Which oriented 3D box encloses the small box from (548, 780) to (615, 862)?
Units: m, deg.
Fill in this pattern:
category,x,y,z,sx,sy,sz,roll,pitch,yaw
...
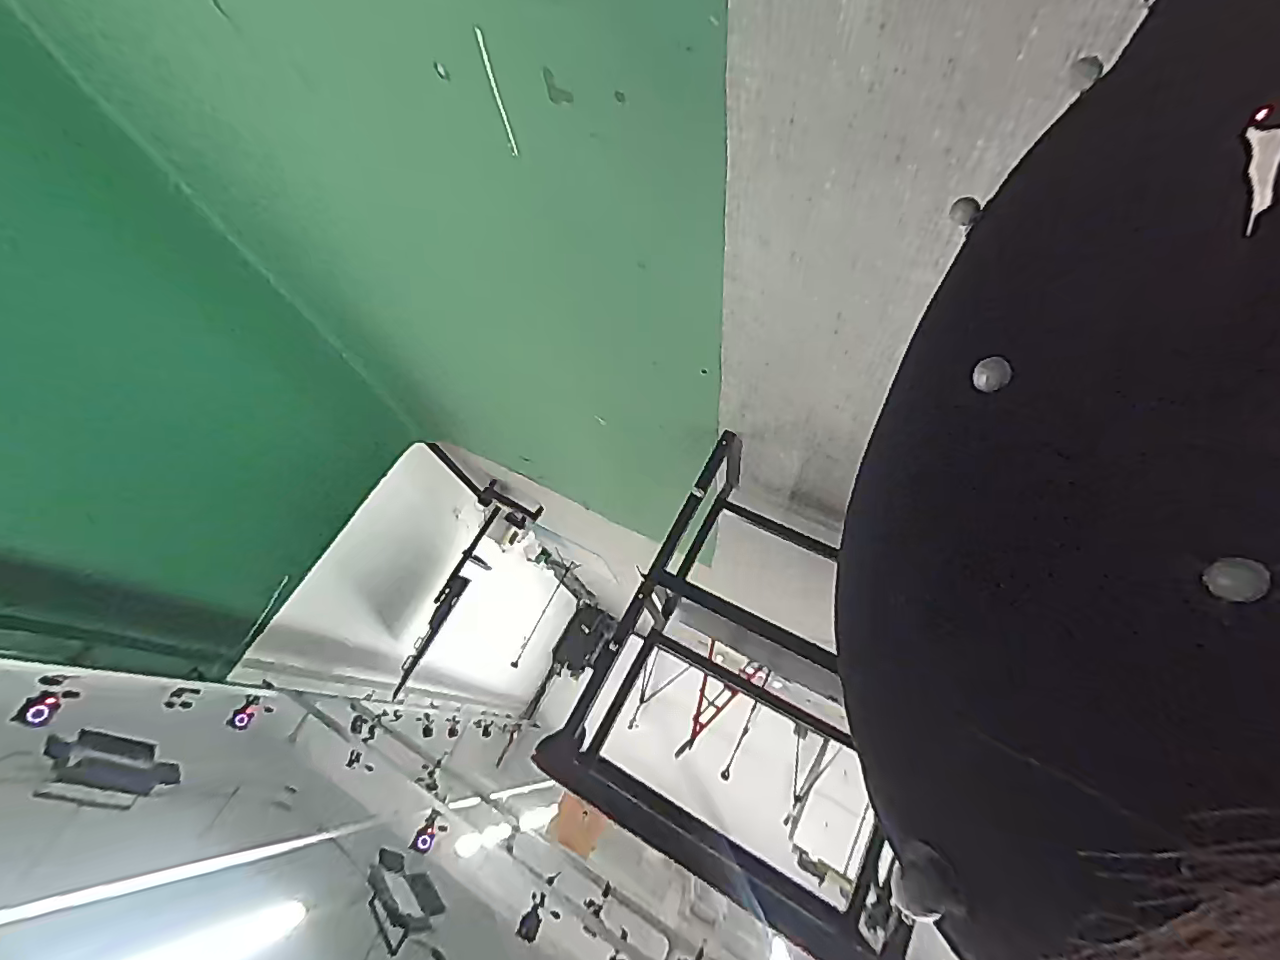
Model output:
category,x,y,z,sx,sy,sz,roll,pitch,yaw
small box,-0.194,1.161,1.859,0.168,0.176,0.179,26,159,8
